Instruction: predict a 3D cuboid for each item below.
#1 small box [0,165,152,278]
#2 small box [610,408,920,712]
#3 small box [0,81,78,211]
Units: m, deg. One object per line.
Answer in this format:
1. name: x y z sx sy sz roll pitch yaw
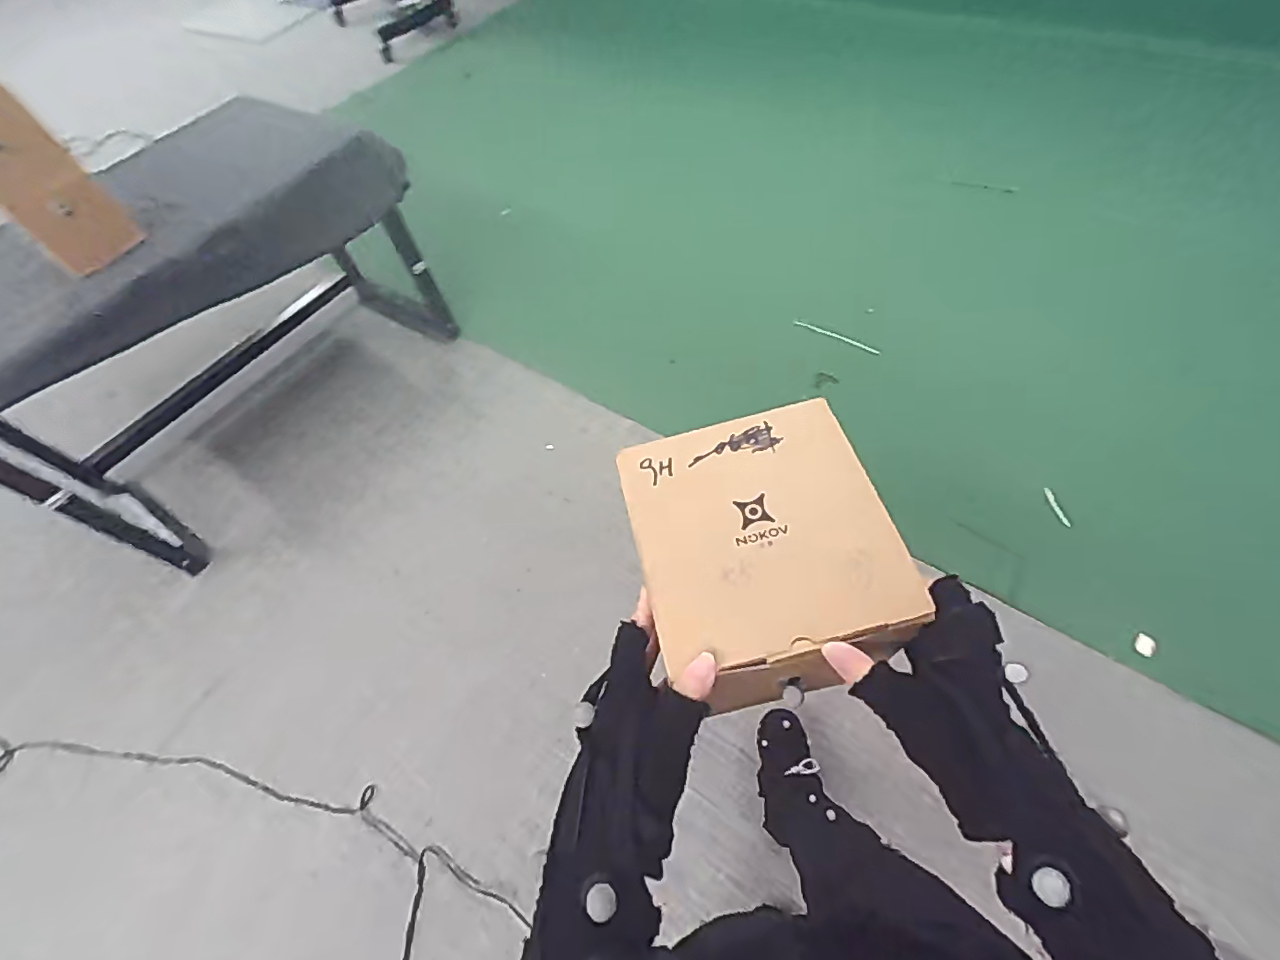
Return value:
1. small box: -1.279 -0.589 1.219 0.168 0.176 0.179 29 65 21
2. small box: 0.085 0.076 0.436 0.168 0.176 0.179 -16 60 0
3. small box: -1.299 -0.678 1.082 0.168 0.176 0.179 27 67 21
